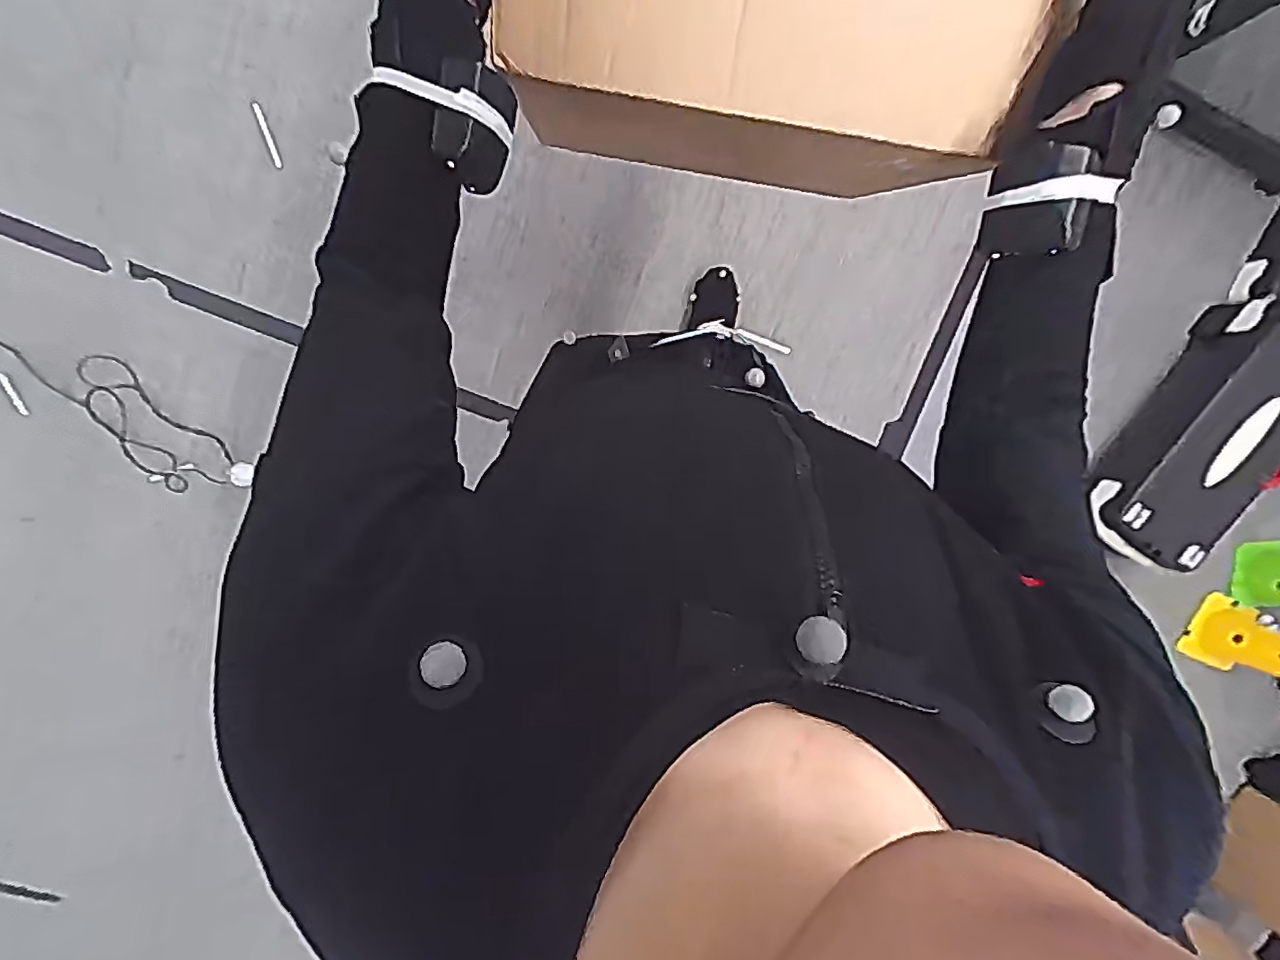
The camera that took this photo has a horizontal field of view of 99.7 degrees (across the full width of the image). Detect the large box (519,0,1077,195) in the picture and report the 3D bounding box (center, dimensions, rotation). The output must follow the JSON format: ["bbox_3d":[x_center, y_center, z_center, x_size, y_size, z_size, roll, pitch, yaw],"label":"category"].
[{"bbox_3d":[0.115,-0.468,0.487,0.408,0.320,0.320,6,113,-7],"label":"large box"}]
